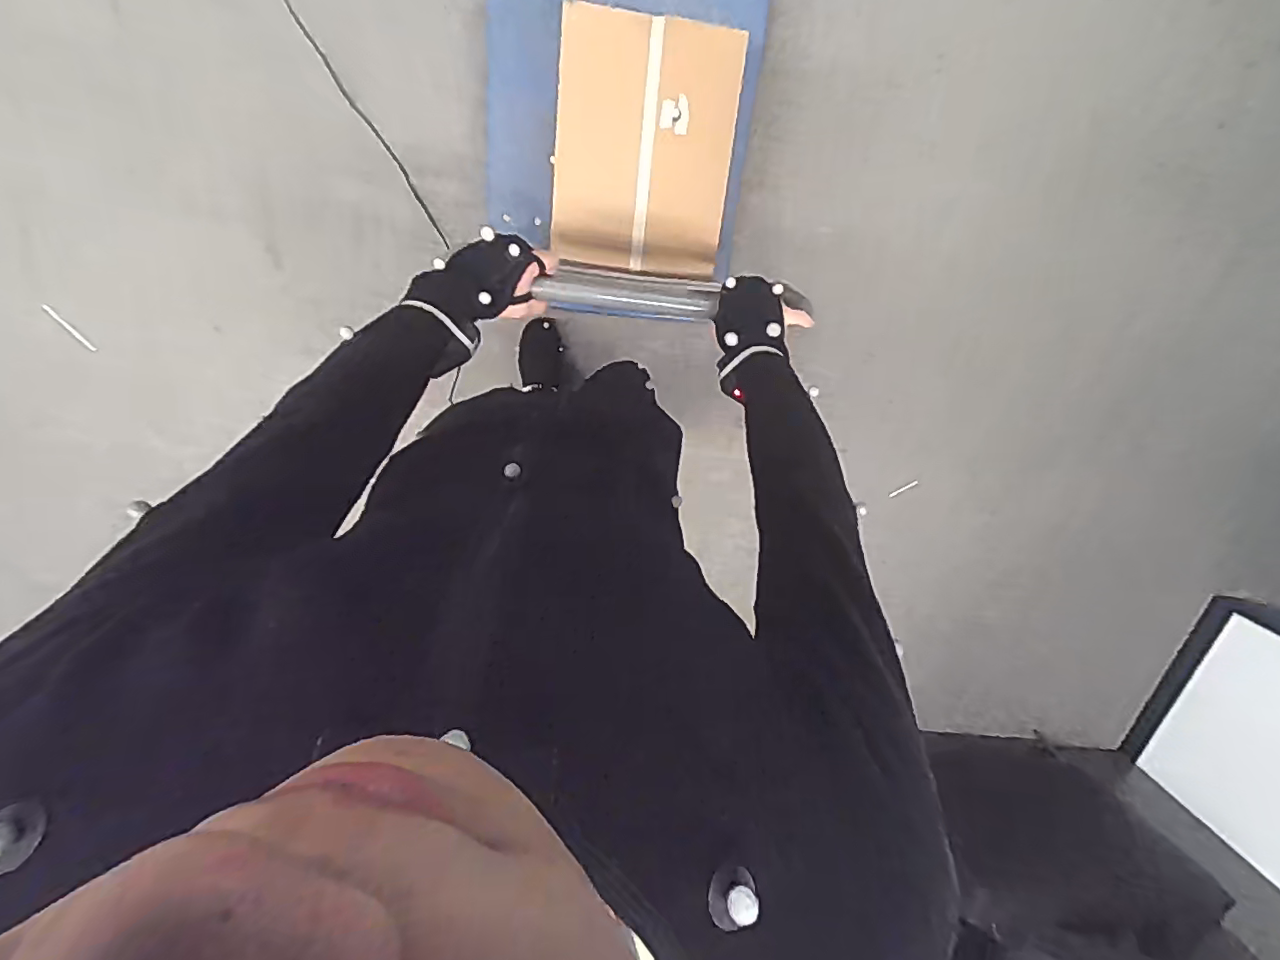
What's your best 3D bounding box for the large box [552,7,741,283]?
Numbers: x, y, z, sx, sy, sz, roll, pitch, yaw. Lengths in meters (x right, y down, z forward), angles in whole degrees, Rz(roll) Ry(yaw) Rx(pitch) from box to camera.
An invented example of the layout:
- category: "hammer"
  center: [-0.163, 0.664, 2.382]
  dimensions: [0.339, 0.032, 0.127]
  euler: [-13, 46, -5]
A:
- category: "large box"
  center: [-0.010, -0.626, 1.103]
  dimensions: [0.320, 0.320, 0.408]
  euler: [3, 109, -9]
